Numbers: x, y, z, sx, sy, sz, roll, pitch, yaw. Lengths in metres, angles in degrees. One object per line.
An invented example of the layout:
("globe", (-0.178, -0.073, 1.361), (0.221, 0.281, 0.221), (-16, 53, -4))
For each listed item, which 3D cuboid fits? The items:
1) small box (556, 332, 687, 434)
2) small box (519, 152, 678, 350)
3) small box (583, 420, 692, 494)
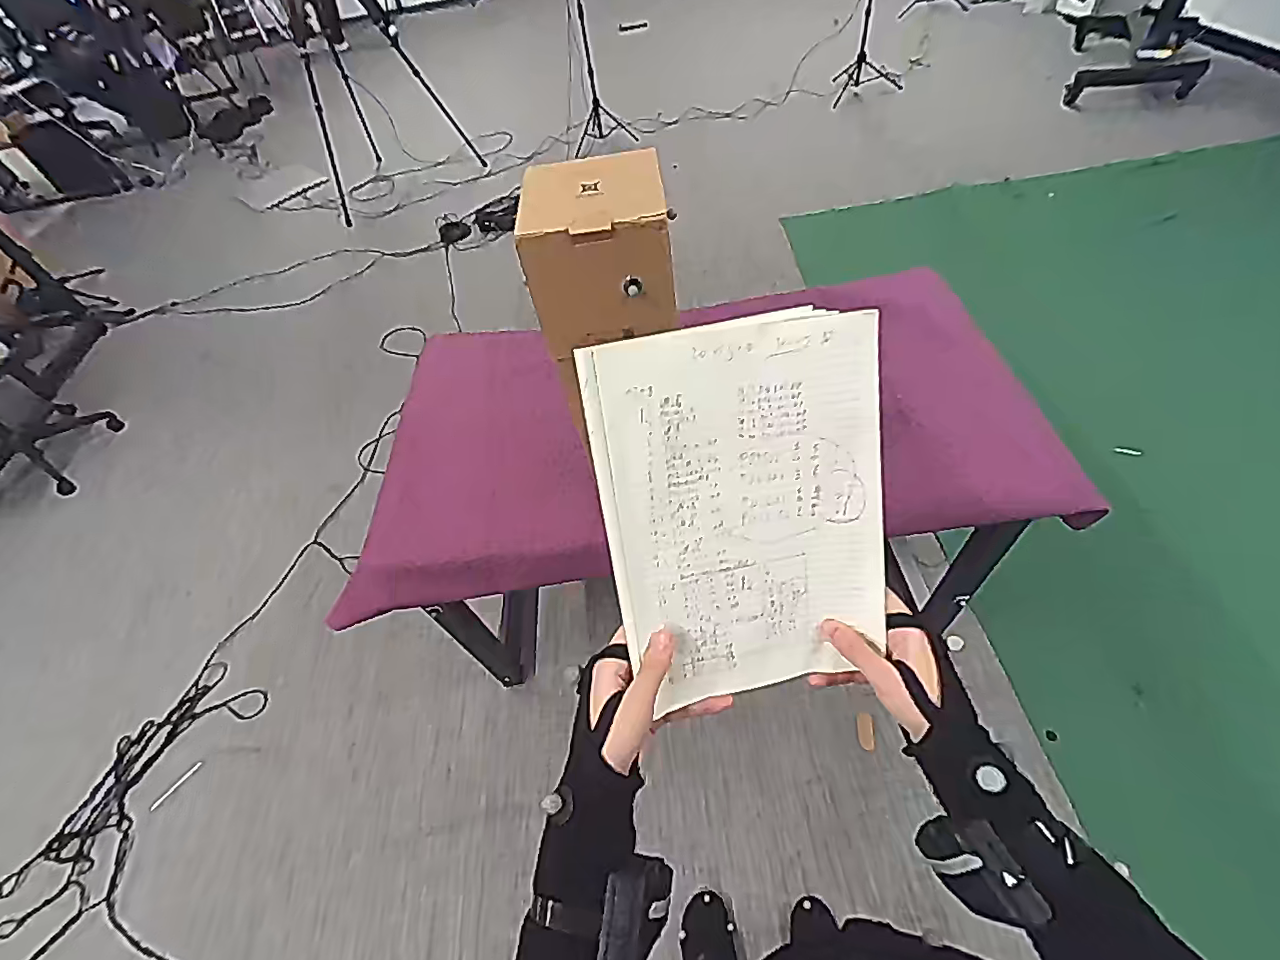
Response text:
("small box", (-0.022, -0.184, 0.816), (0.168, 0.176, 0.179), (-7, 51, 4))
("small box", (-0.043, -0.280, 0.685), (0.168, 0.176, 0.179), (-6, 51, 4))
("small box", (-0.002, -0.088, 0.948), (0.168, 0.176, 0.179), (-7, 52, 4))
